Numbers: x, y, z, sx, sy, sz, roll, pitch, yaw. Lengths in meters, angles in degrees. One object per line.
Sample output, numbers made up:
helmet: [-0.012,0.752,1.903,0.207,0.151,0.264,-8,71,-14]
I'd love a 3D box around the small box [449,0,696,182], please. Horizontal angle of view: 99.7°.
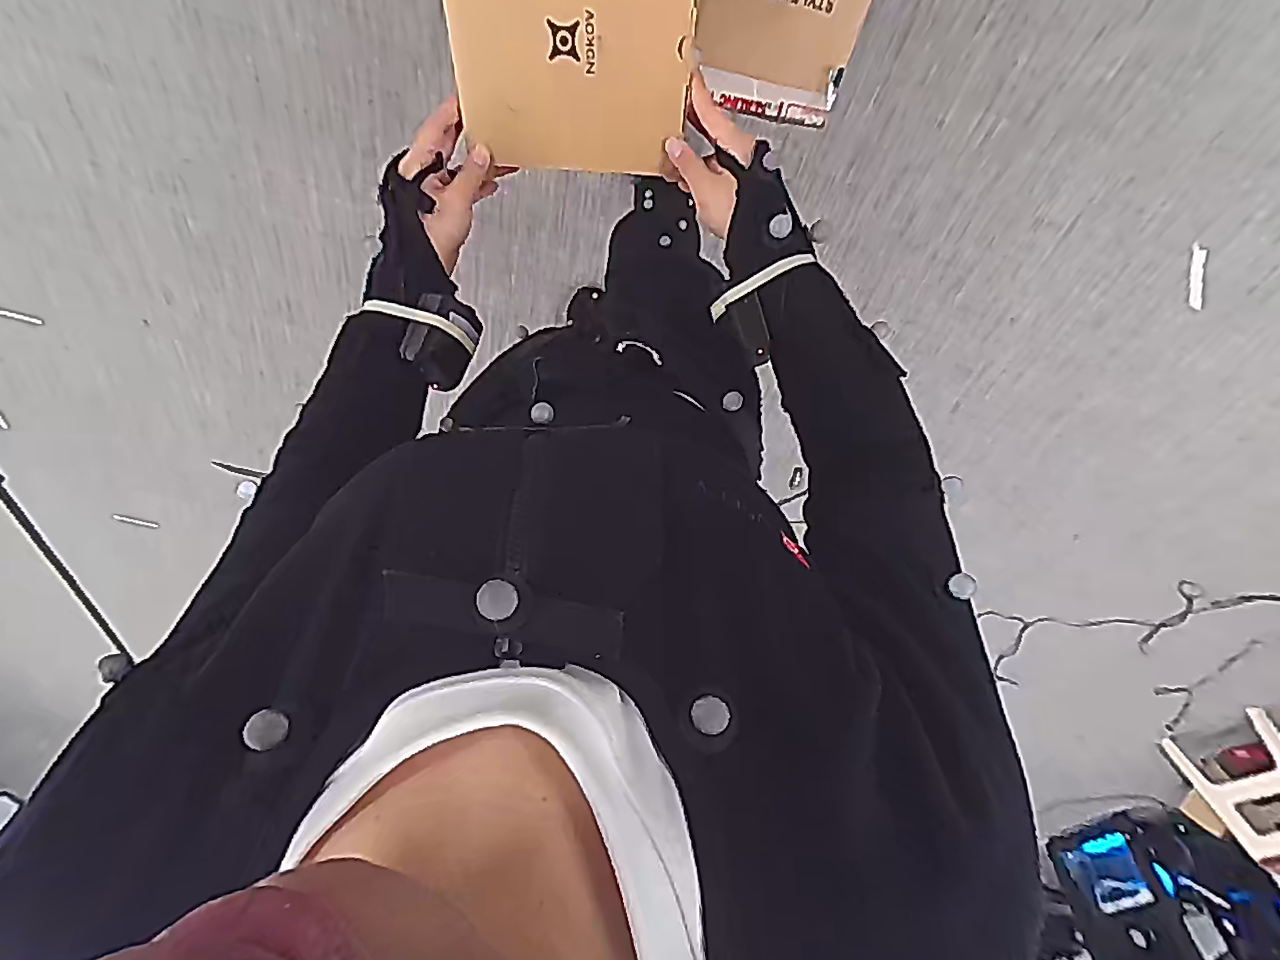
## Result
small box: [-0.046,-0.368,0.456,0.179,0.176,0.168,3,133,-1]
